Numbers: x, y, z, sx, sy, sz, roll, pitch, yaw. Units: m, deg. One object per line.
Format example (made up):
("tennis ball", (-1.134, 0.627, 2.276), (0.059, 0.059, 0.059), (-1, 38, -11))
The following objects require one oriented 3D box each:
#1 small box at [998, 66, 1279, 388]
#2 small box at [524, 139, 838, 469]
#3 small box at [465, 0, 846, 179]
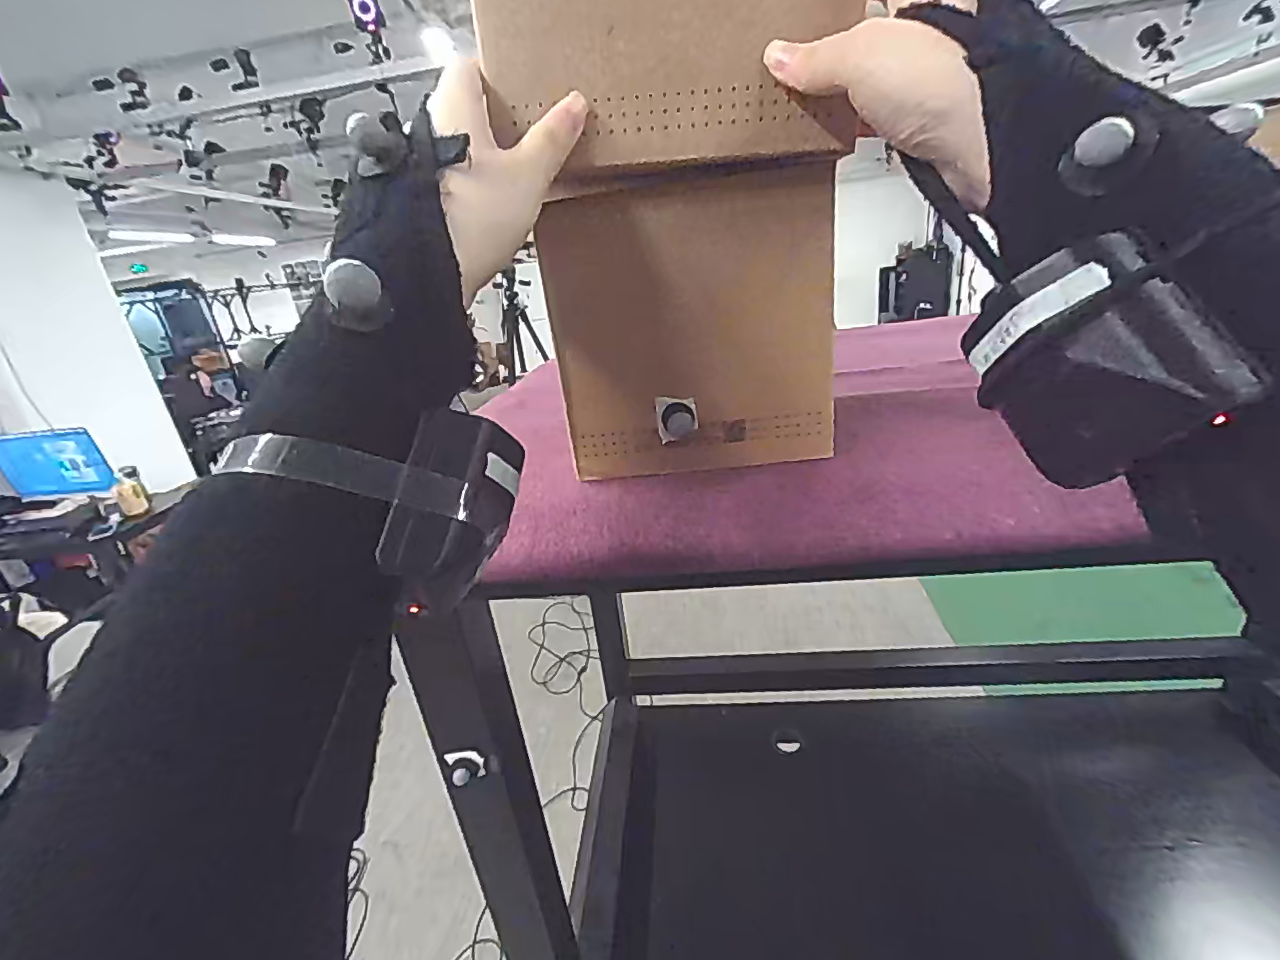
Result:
("small box", (0.378, -0.163, 0.375), (0.179, 0.176, 0.168), (-4, 21, 8))
("small box", (0.031, -0.119, 0.385), (0.168, 0.176, 0.179), (-7, 23, 4))
("small box", (0.005, -0.265, 0.296), (0.179, 0.176, 0.168), (-4, 22, 2))
